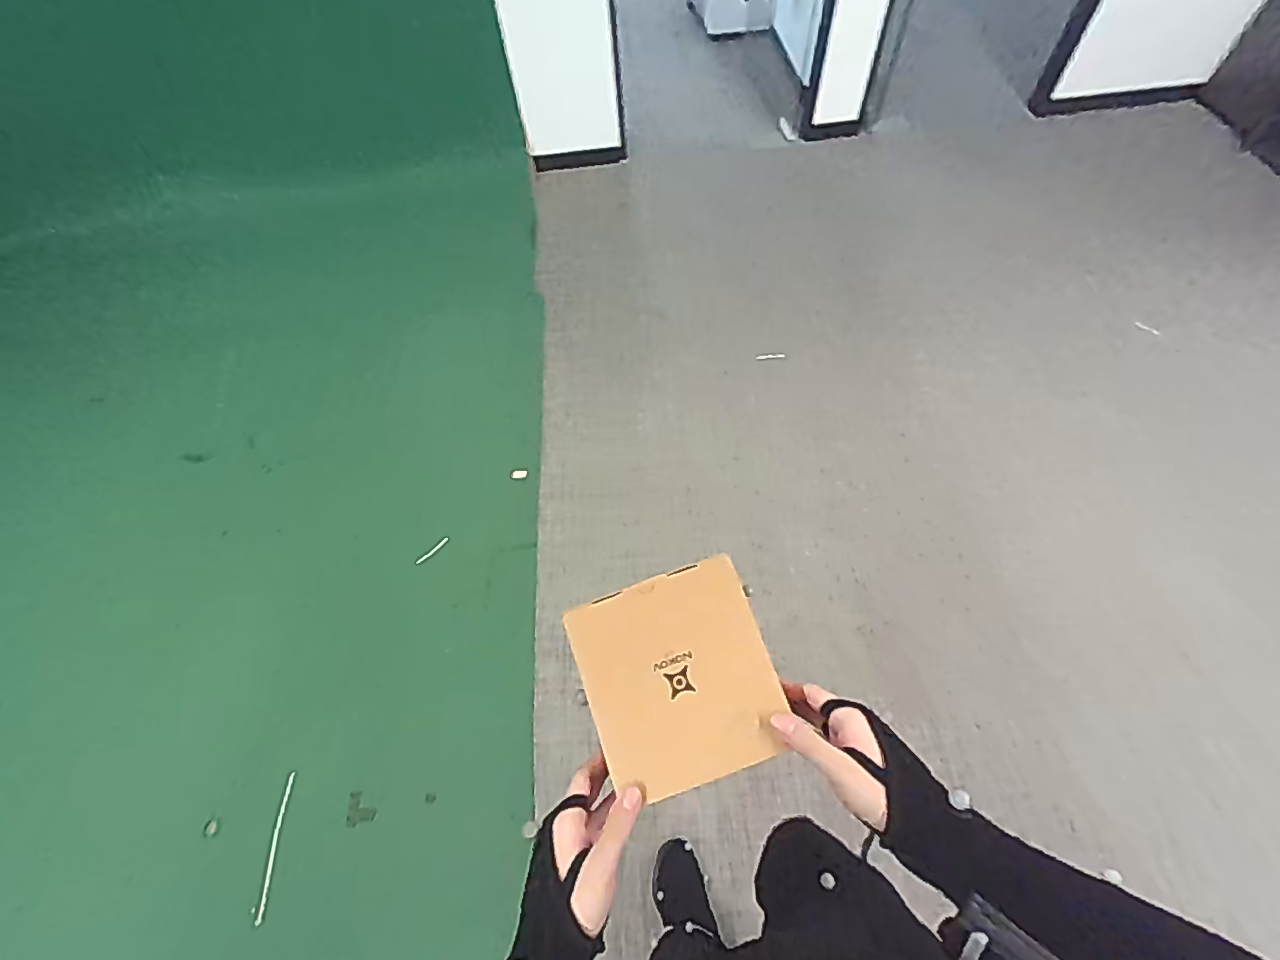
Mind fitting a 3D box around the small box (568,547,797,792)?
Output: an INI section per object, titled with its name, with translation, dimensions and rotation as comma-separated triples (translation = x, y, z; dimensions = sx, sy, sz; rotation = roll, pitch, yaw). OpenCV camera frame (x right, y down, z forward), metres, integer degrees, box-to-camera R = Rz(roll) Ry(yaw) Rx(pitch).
[small box]
translation = 0.041, 0.185, 0.562
dimensions = 0.168, 0.176, 0.179
rotation = -19, 74, -1
